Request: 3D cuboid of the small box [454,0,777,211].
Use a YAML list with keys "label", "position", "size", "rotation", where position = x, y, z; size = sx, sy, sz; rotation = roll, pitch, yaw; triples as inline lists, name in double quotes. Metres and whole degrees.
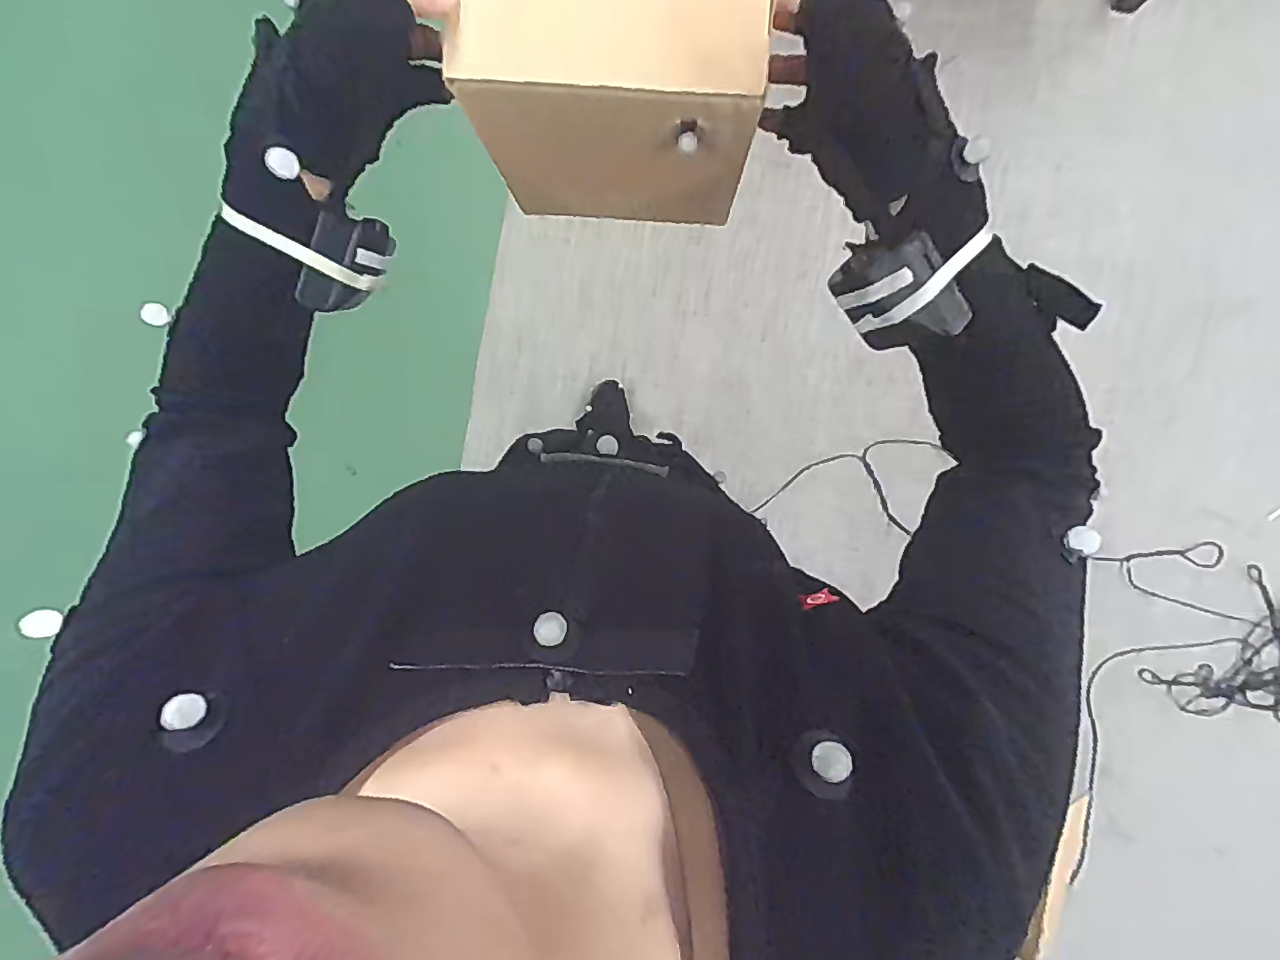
- label: "small box"
  position: [-0.009, -0.304, 0.370]
  size: [0.179, 0.176, 0.168]
  rotation: [4, 94, 0]
